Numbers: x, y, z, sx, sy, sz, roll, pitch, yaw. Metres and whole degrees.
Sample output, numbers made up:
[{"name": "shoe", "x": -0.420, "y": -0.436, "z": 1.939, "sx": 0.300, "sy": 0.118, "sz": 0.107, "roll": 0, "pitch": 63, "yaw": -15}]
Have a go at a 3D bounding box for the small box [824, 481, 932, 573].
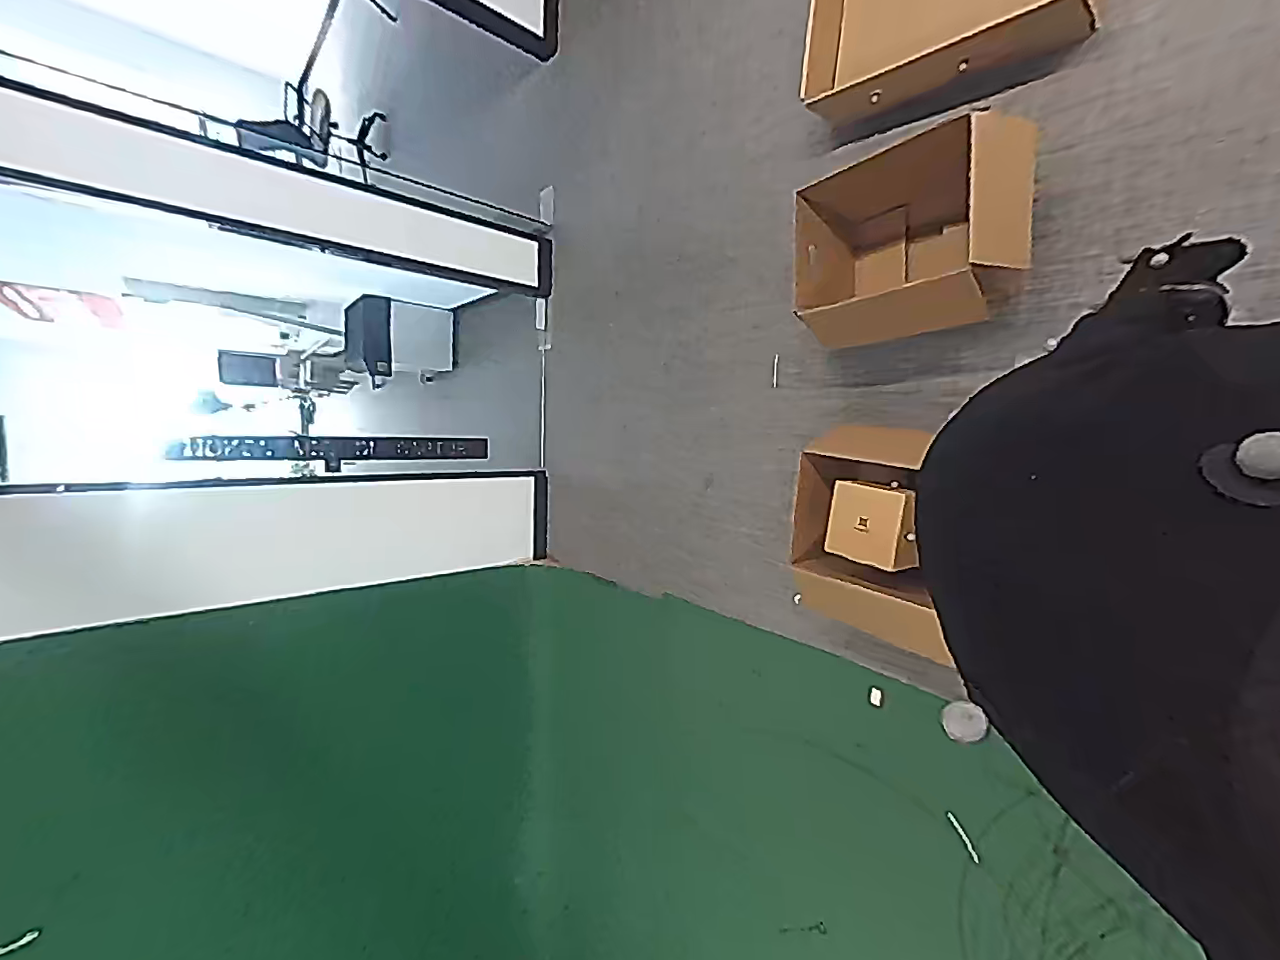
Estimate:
[{"name": "small box", "x": 0.559, "y": 0.102, "z": 1.264, "sx": 0.168, "sy": 0.176, "sz": 0.179, "roll": 15, "pitch": 101, "yaw": 48}]
